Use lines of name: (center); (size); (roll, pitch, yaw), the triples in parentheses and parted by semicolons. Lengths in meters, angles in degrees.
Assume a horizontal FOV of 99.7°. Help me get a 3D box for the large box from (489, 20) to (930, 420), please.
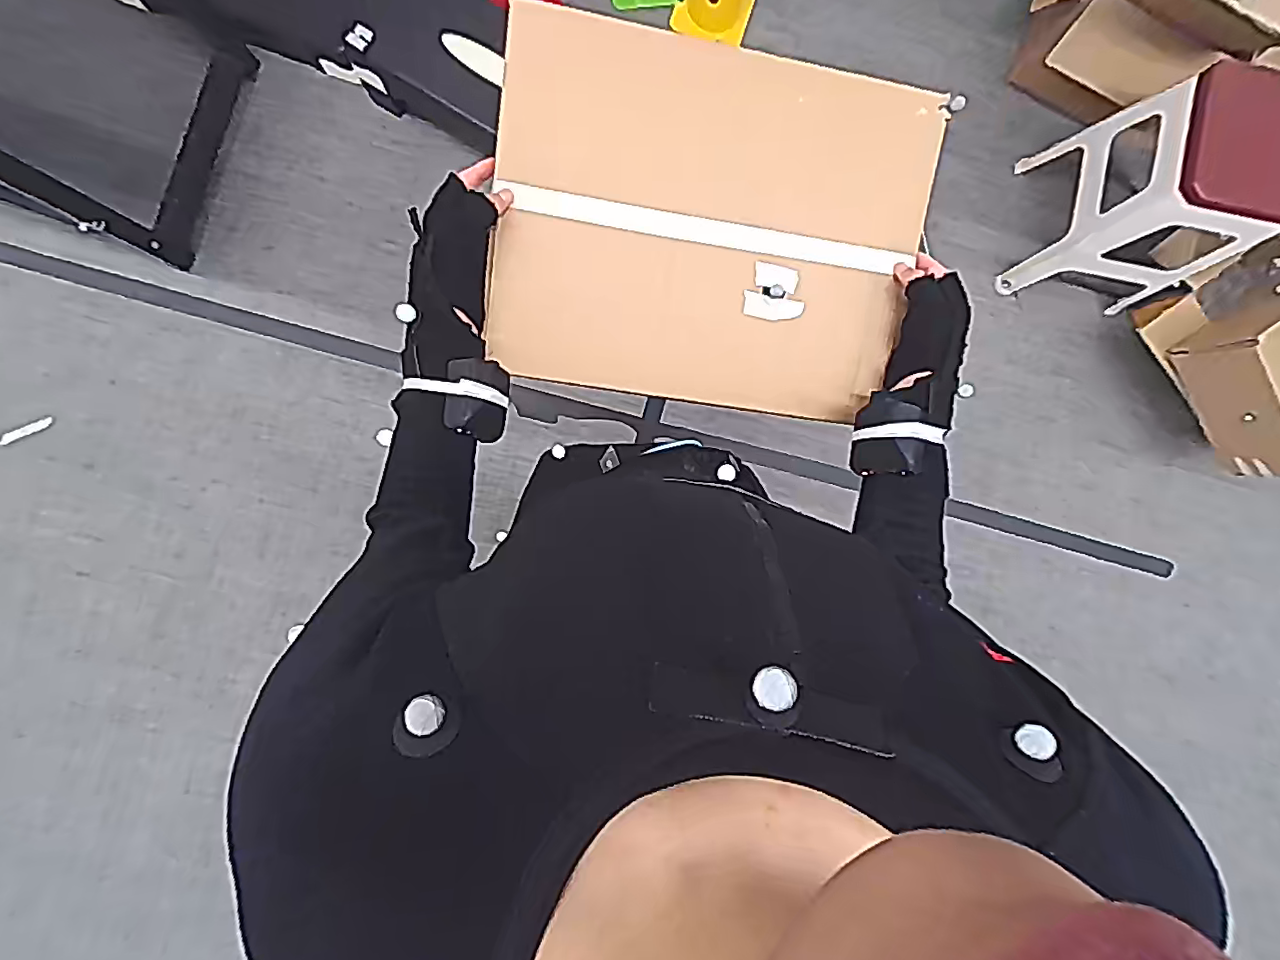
large box: (0.050, -0.261, 0.668); (0.408, 0.320, 0.320); (8, 101, -8)
